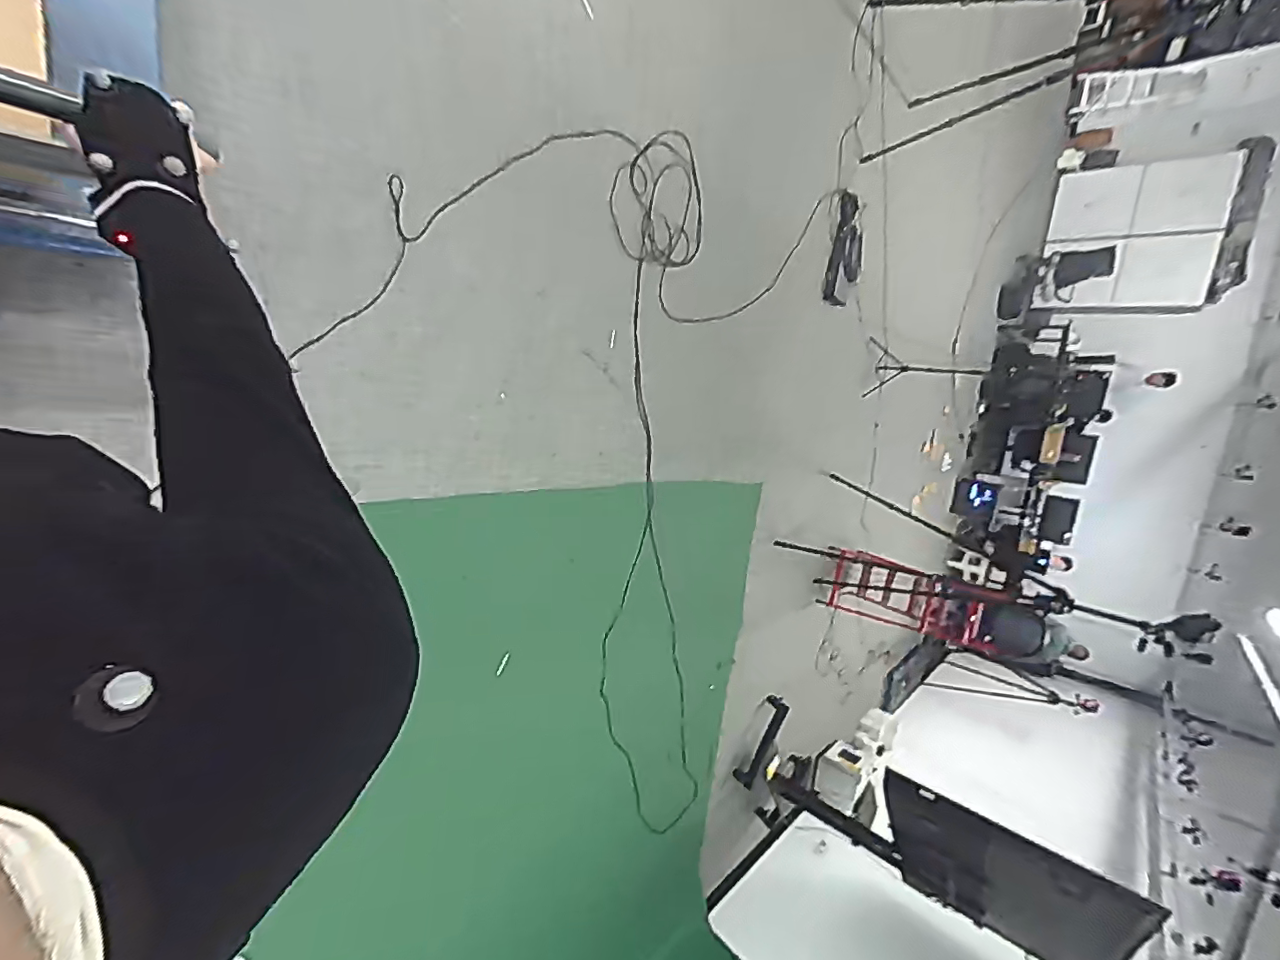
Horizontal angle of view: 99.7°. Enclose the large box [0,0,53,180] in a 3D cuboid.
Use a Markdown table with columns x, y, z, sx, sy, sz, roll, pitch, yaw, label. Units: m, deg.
| x | y | z | sx | sy | sz | roll | pitch | yaw | label |
| --- | --- | --- | --- | --- | --- | --- | --- | --- | --- |
| -0.997 | -0.667 | 0.687 | 0.320 | 0.320 | 0.408 | -6 | 104 | -47 | large box |
